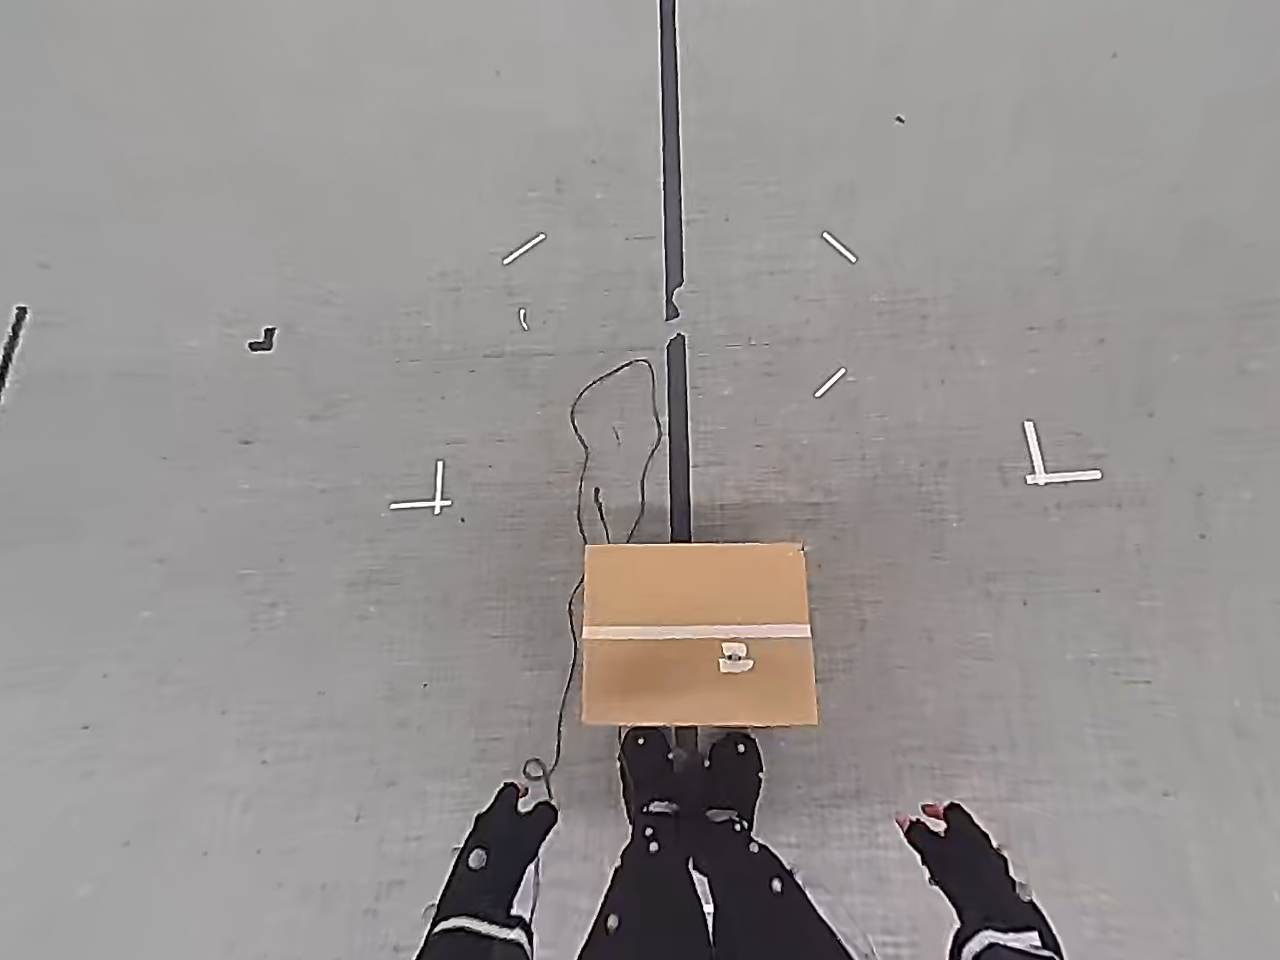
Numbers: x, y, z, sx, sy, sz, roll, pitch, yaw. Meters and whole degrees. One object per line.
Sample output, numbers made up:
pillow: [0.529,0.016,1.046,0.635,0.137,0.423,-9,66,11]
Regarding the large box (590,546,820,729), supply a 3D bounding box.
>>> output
large box: [0.111,0.315,1.114,0.408,0.320,0.320,-1,76,1]
